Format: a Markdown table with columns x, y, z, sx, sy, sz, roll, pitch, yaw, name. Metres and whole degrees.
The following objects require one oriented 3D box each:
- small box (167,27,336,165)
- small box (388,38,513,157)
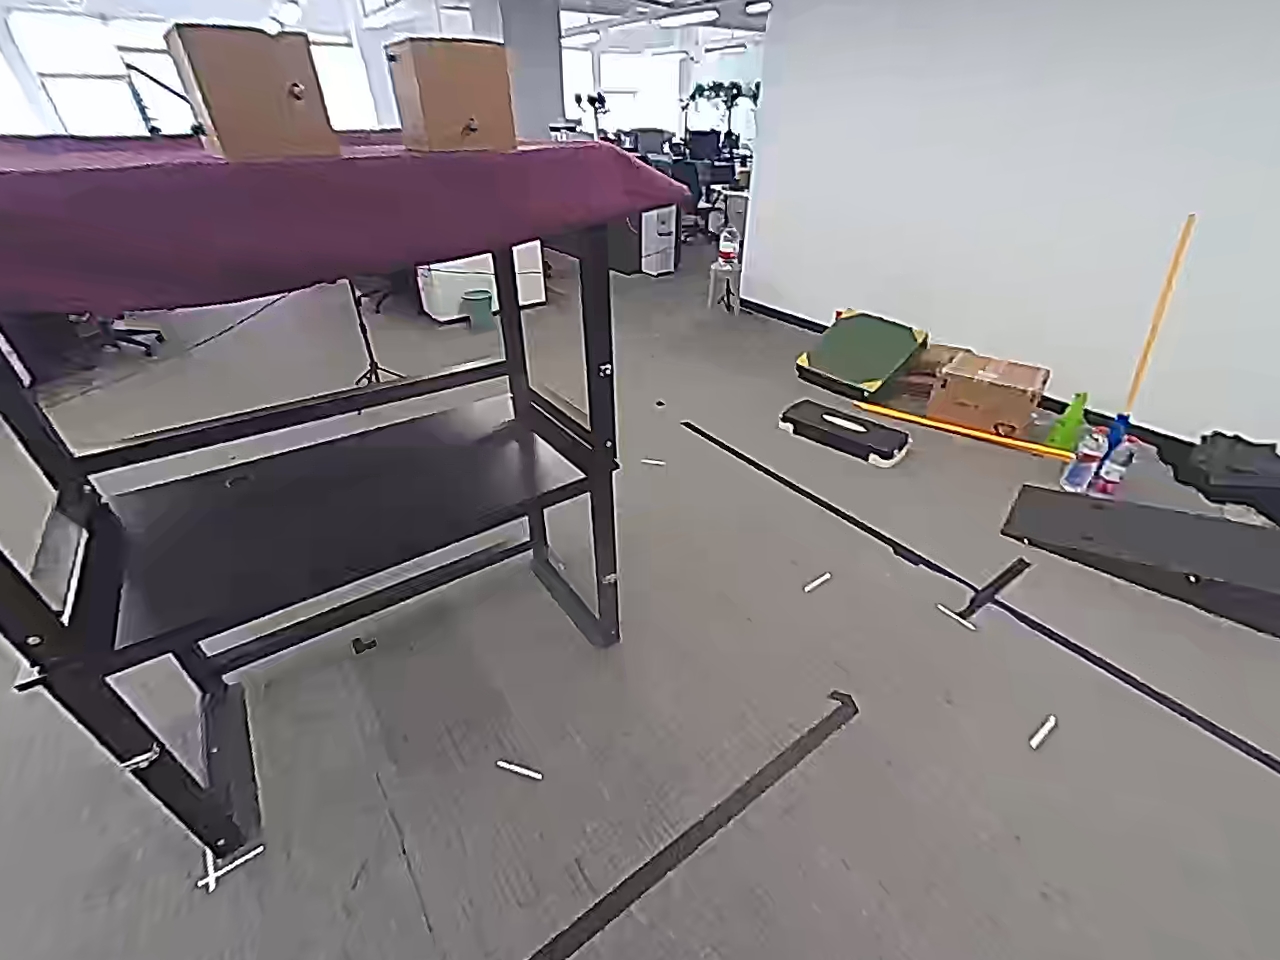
| x | y | z | sx | sy | sz | roll | pitch | yaw | name |
| --- | --- | --- | --- | --- | --- | --- | --- | --- | --- |
| -0.629 | -0.626 | 0.893 | 0.179 | 0.176 | 0.168 | -26 | 41 | -33 | small box |
| -0.355 | -0.725 | 1.035 | 0.179 | 0.176 | 0.168 | -21 | 38 | -29 | small box |
